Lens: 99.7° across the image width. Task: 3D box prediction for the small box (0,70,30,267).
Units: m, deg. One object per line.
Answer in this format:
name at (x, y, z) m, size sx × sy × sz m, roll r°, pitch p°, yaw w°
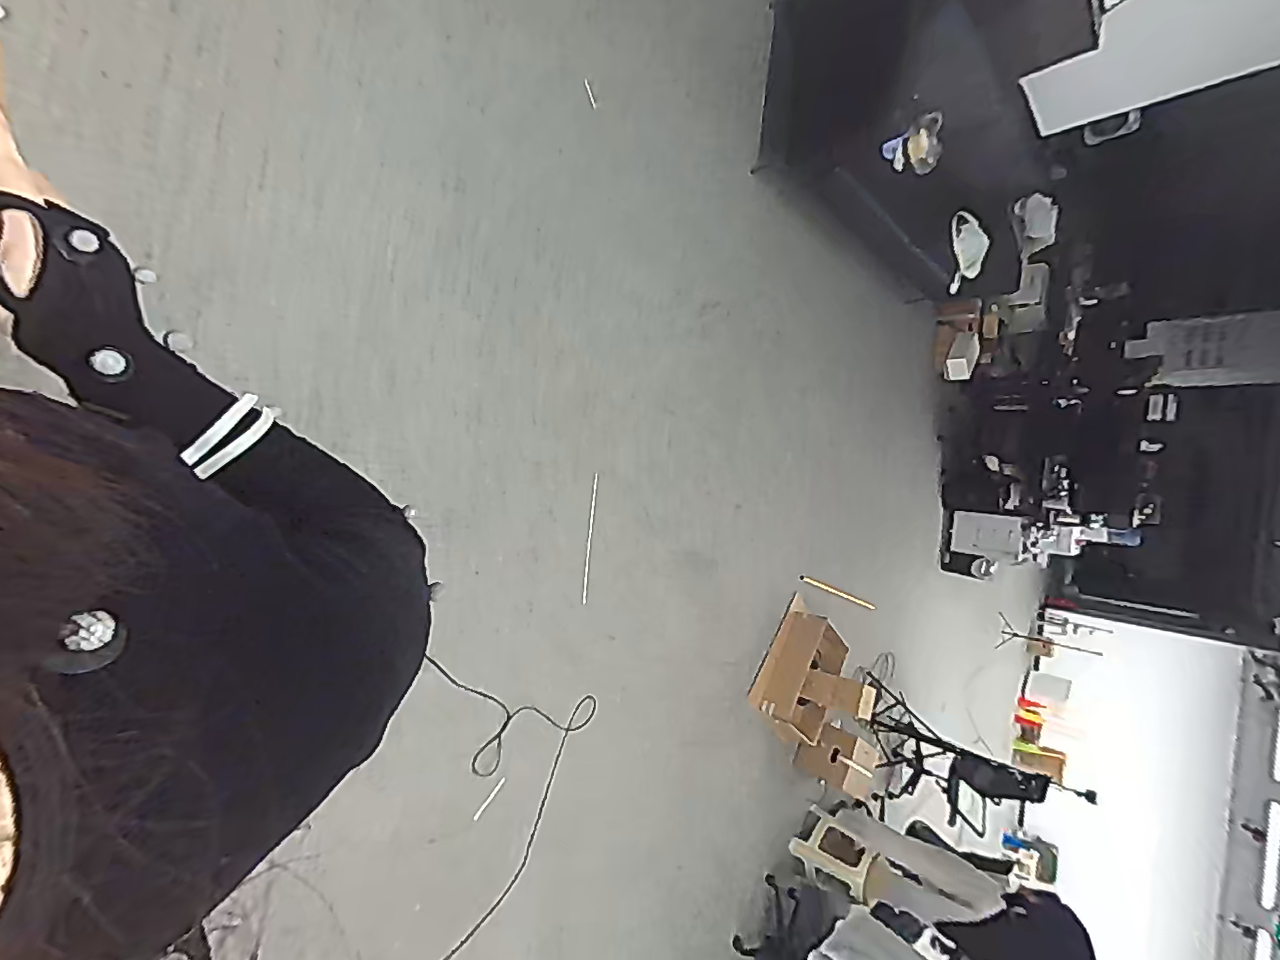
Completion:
small box at (-0.504, -0.238, 0.319) m, size 0.168 × 0.176 × 0.179 m, roll -8°, pitch 101°, yaw -42°
